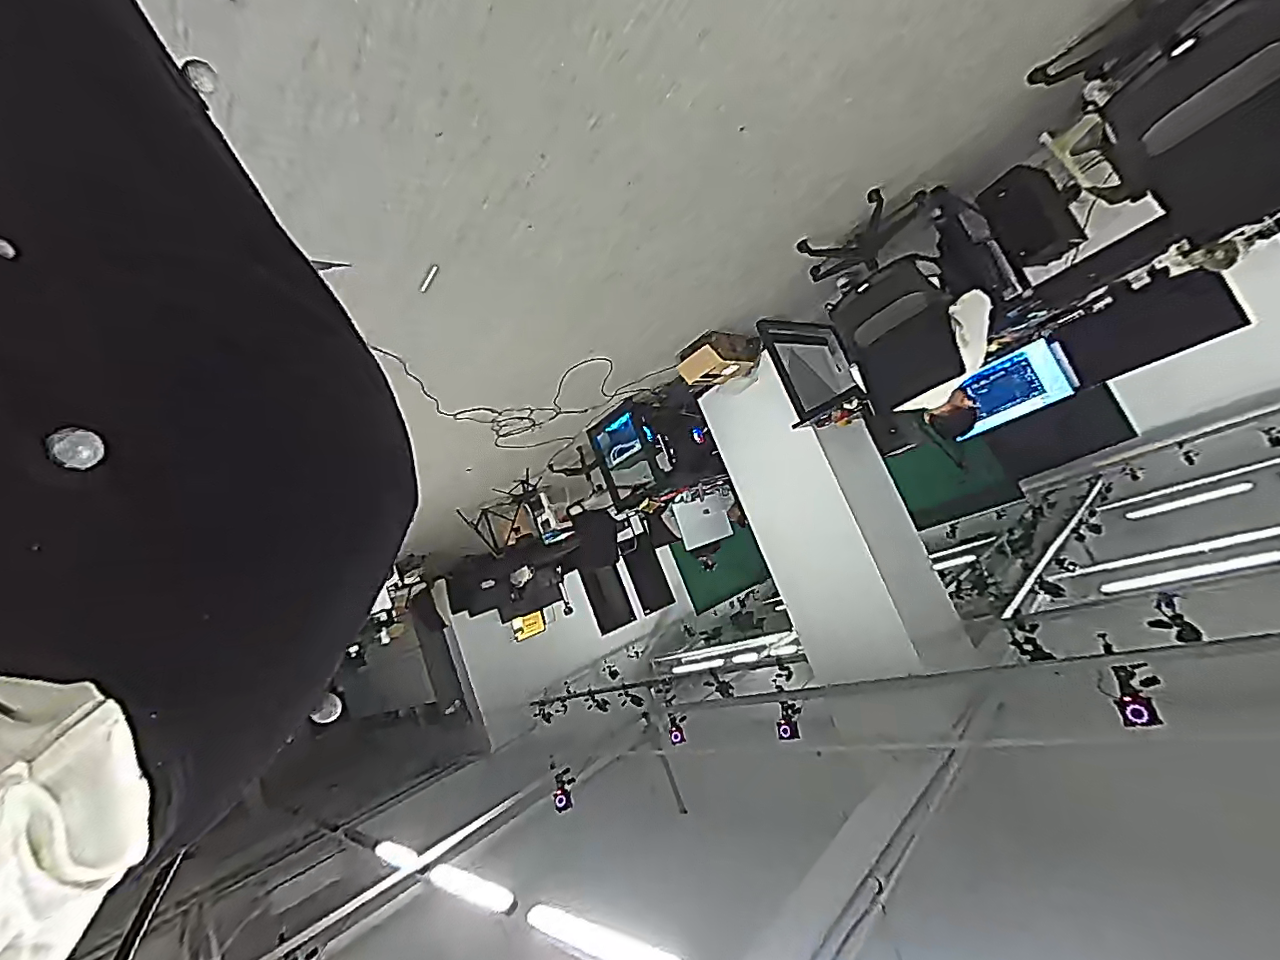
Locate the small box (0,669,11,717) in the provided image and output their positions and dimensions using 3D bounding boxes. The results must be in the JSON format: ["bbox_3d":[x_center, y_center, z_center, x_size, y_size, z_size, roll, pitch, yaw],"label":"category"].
[{"bbox_3d":[-2.004,0.638,1.581,0.179,0.176,0.168,-13,168,-43],"label":"small box"}]
